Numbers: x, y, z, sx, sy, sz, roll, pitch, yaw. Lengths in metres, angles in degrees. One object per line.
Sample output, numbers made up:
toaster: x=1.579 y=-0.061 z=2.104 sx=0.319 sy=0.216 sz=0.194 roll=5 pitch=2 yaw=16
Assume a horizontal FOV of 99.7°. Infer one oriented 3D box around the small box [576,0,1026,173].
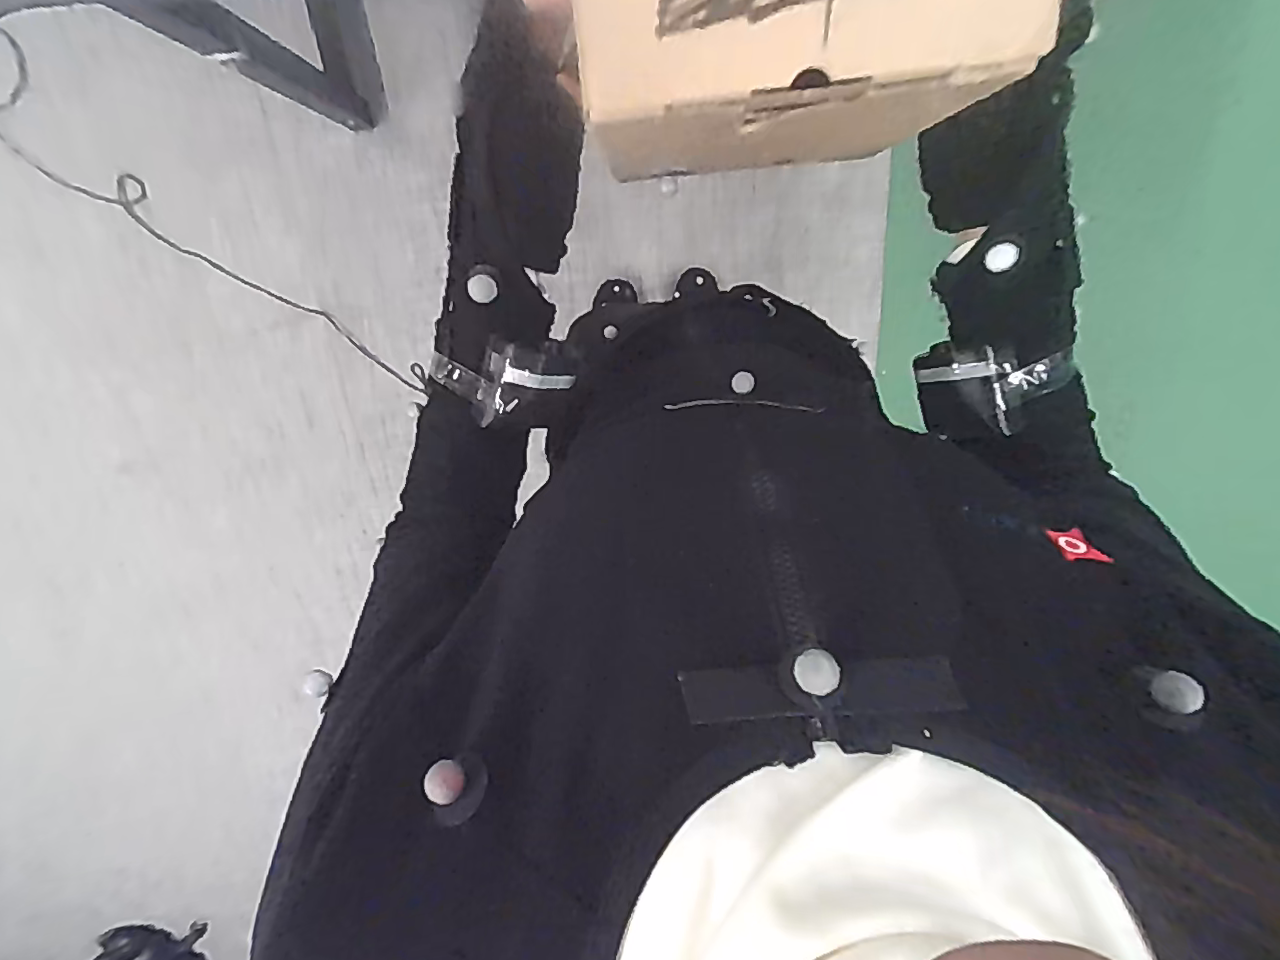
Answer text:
small box: x=0.058 y=-0.254 z=0.252 sx=0.168 sy=0.176 sz=0.179 roll=-3 pitch=111 yaw=3
